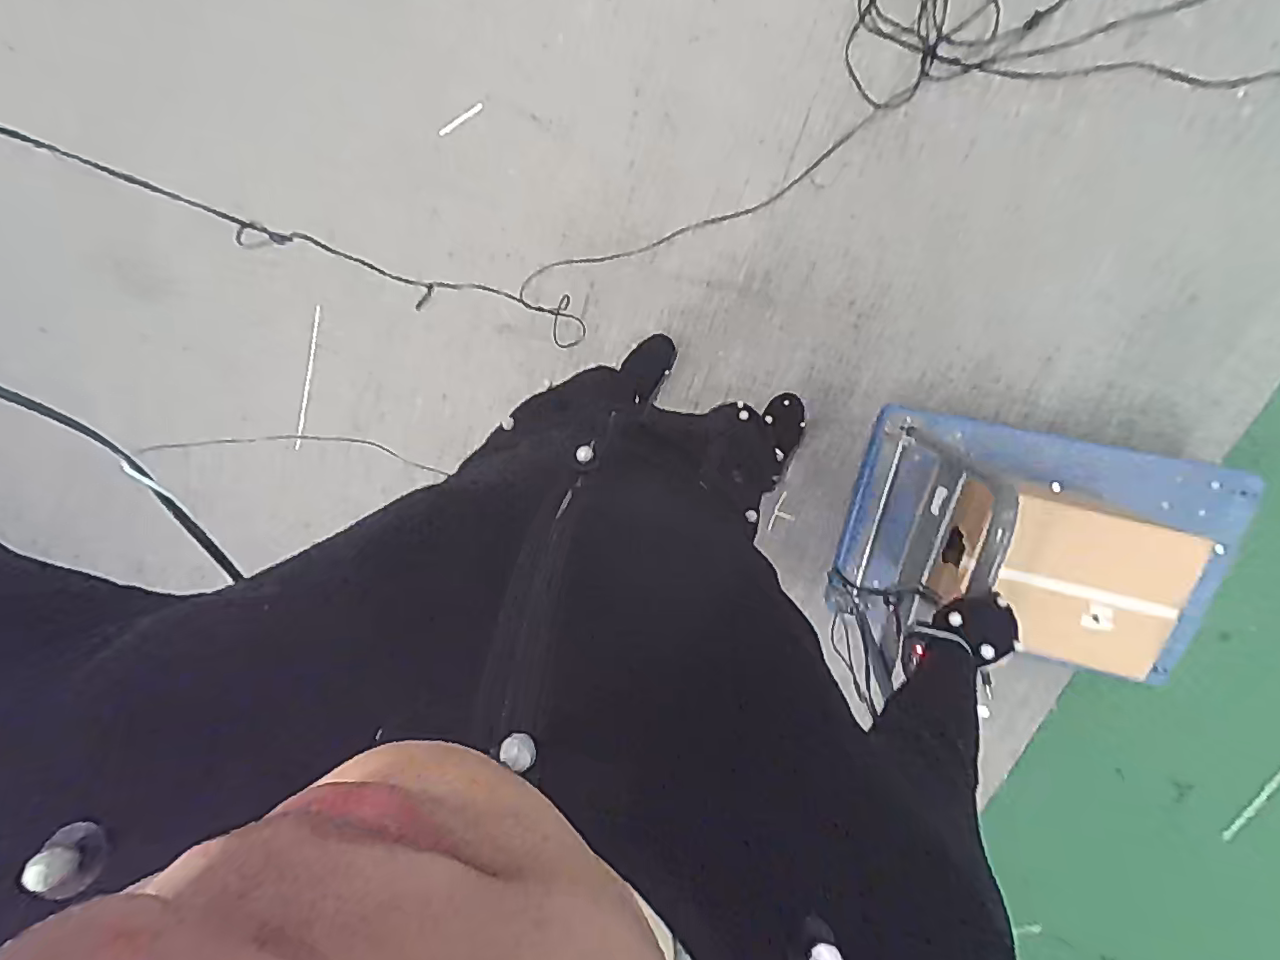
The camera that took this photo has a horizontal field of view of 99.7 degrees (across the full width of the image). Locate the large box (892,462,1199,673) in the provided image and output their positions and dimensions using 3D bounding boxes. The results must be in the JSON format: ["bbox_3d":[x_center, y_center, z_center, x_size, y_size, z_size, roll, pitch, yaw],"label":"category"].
[{"bbox_3d":[0.855,0.172,1.219,0.408,0.320,0.320,14,106,4],"label":"large box"}]
